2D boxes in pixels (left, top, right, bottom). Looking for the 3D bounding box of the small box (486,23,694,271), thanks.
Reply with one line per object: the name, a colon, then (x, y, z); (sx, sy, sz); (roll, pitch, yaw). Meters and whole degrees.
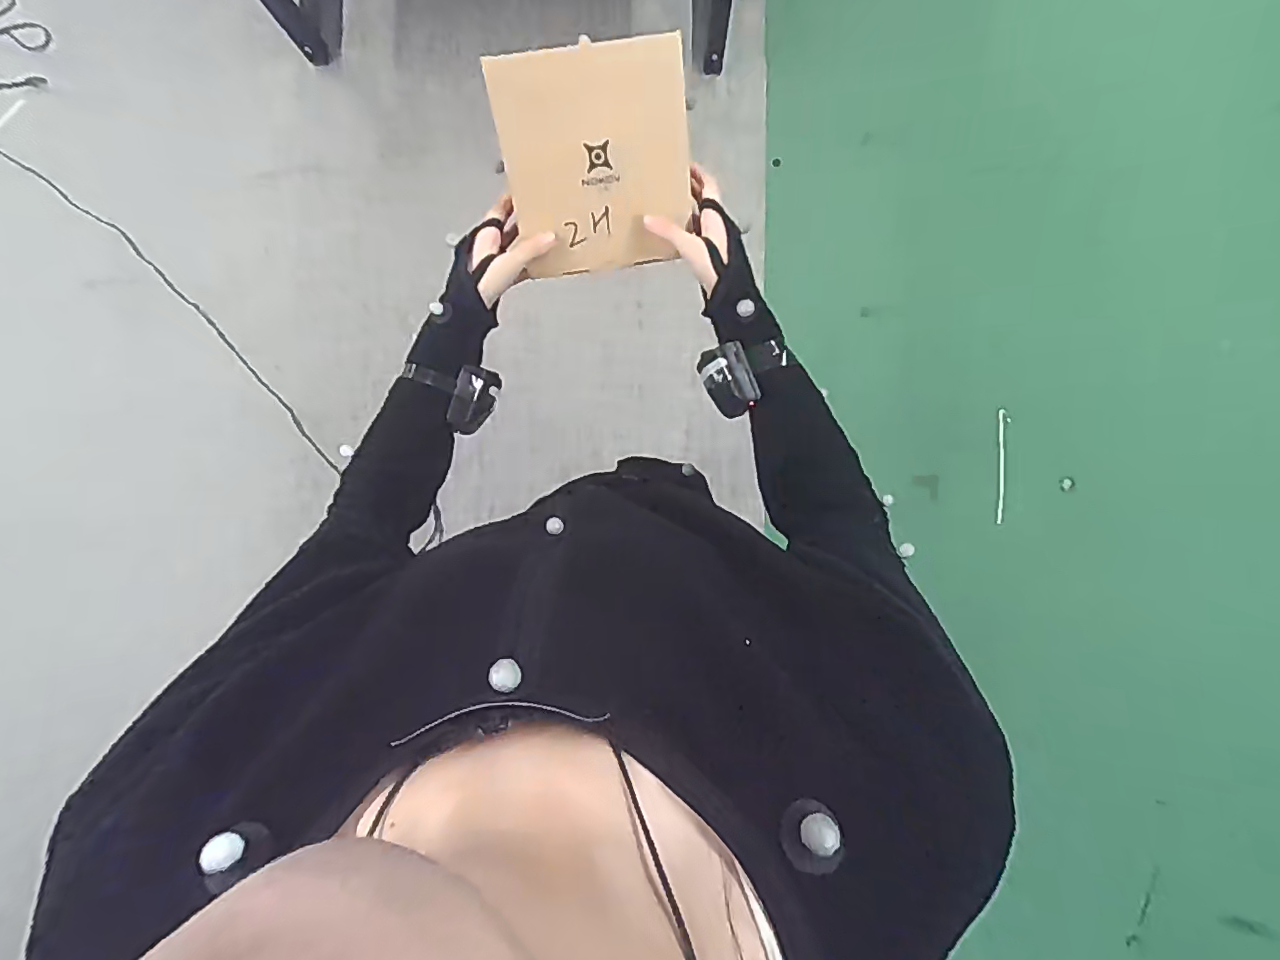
small box: (-0.044, -0.326, 0.545); (0.168, 0.176, 0.179); (-8, 123, -1)
